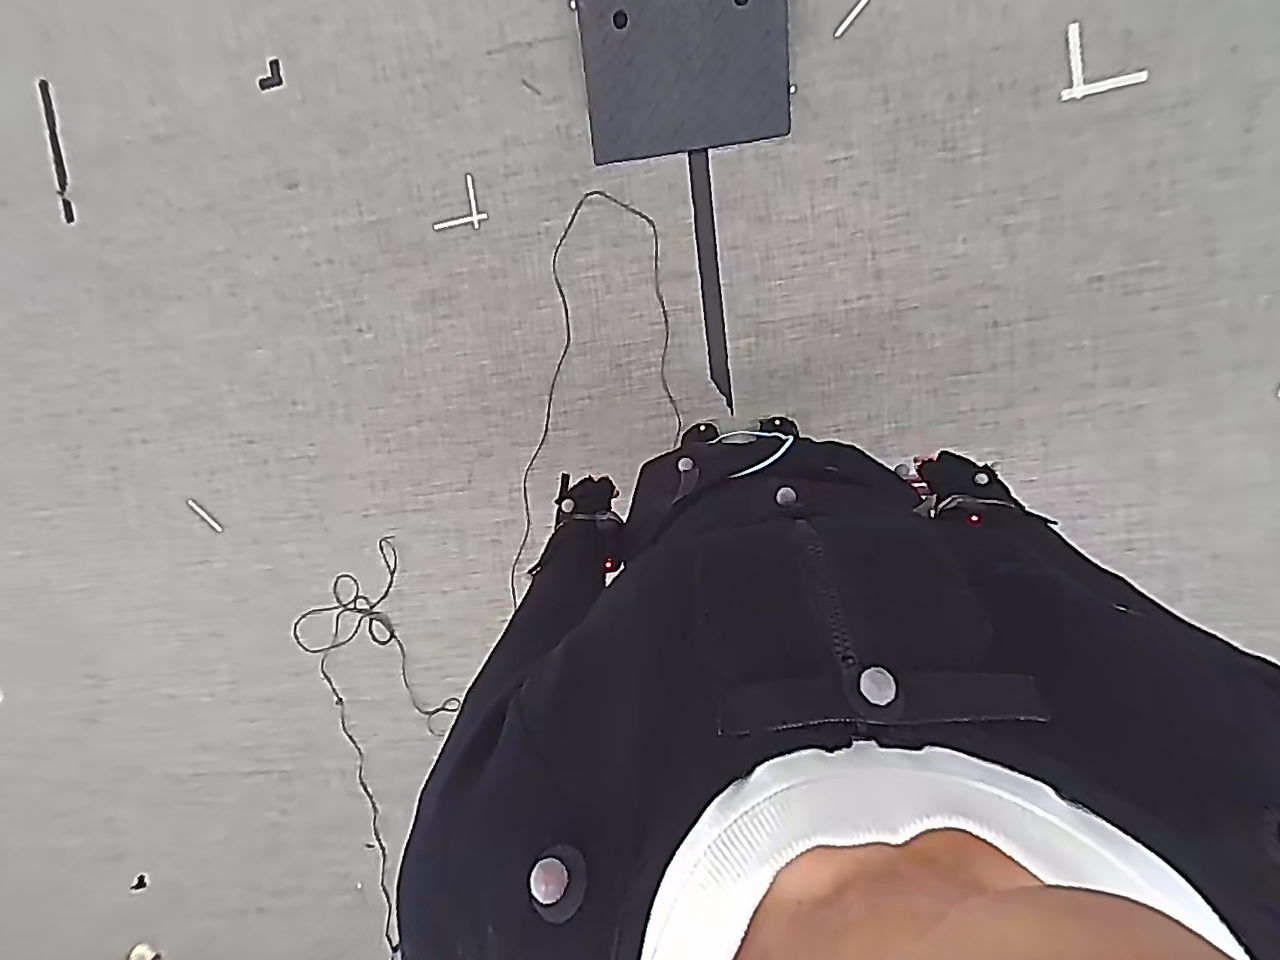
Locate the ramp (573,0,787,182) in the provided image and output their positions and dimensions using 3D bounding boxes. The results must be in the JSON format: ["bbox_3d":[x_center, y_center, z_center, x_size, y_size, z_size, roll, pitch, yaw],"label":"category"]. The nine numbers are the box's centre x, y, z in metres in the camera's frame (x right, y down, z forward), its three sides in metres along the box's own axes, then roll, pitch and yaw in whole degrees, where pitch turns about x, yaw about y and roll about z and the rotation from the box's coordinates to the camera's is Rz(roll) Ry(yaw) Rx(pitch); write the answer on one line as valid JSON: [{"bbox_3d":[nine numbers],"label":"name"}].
[{"bbox_3d":[0.066,-1.281,1.255,0.509,0.206,0.991,-7,95,8],"label":"ramp"}]
